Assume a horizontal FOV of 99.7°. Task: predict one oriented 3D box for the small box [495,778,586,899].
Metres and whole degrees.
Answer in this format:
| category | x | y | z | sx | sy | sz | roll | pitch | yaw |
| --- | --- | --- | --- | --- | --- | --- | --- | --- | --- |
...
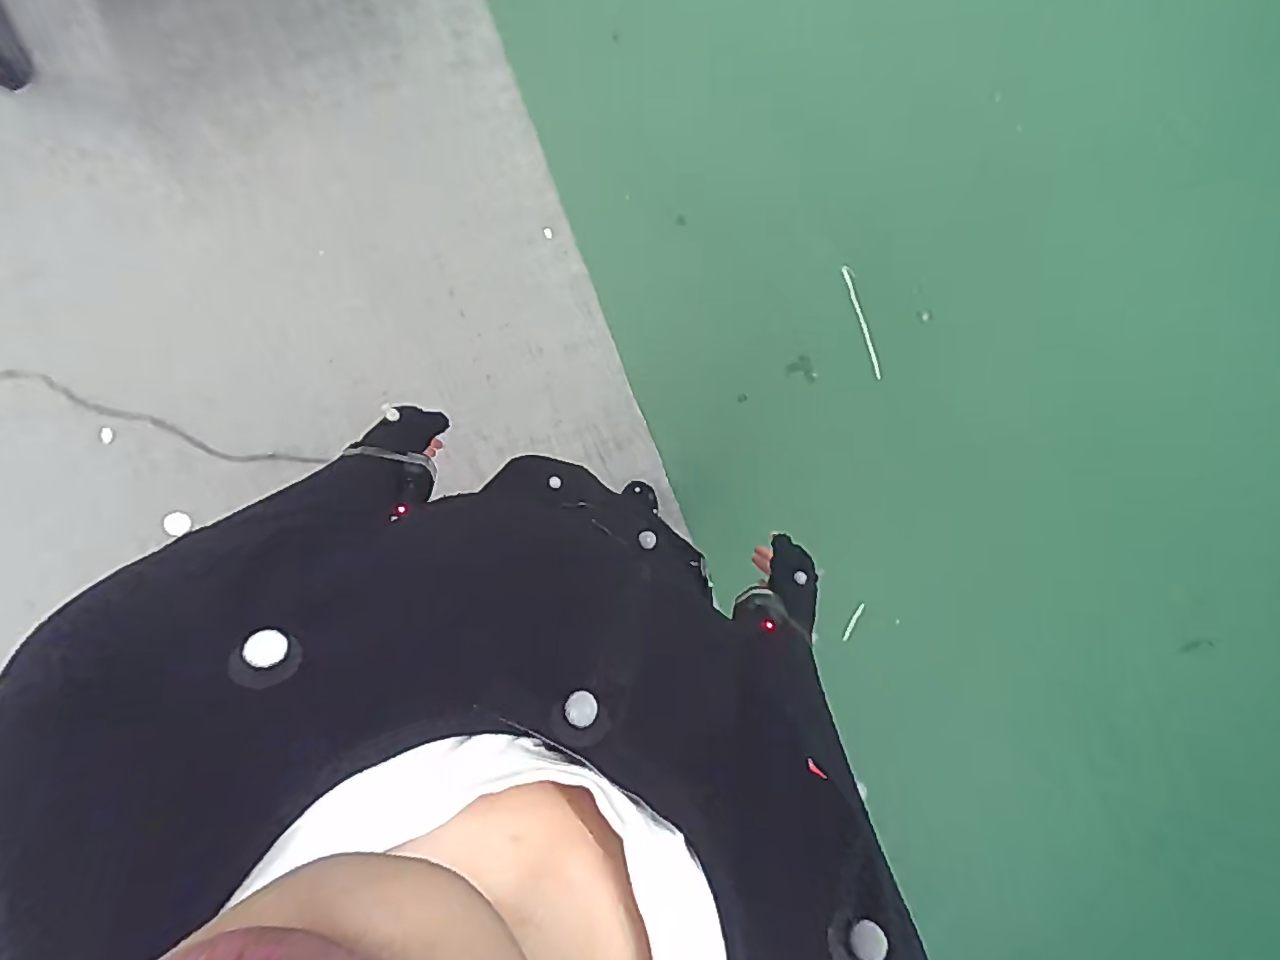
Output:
| category | x | y | z | sx | sy | sz | roll | pitch | yaw |
| --- | --- | --- | --- | --- | --- | --- | --- | --- | --- |
| small box | -0.244 | 0.901 | 1.378 | 0.179 | 0.176 | 0.168 | -20 | 93 | 0 |
